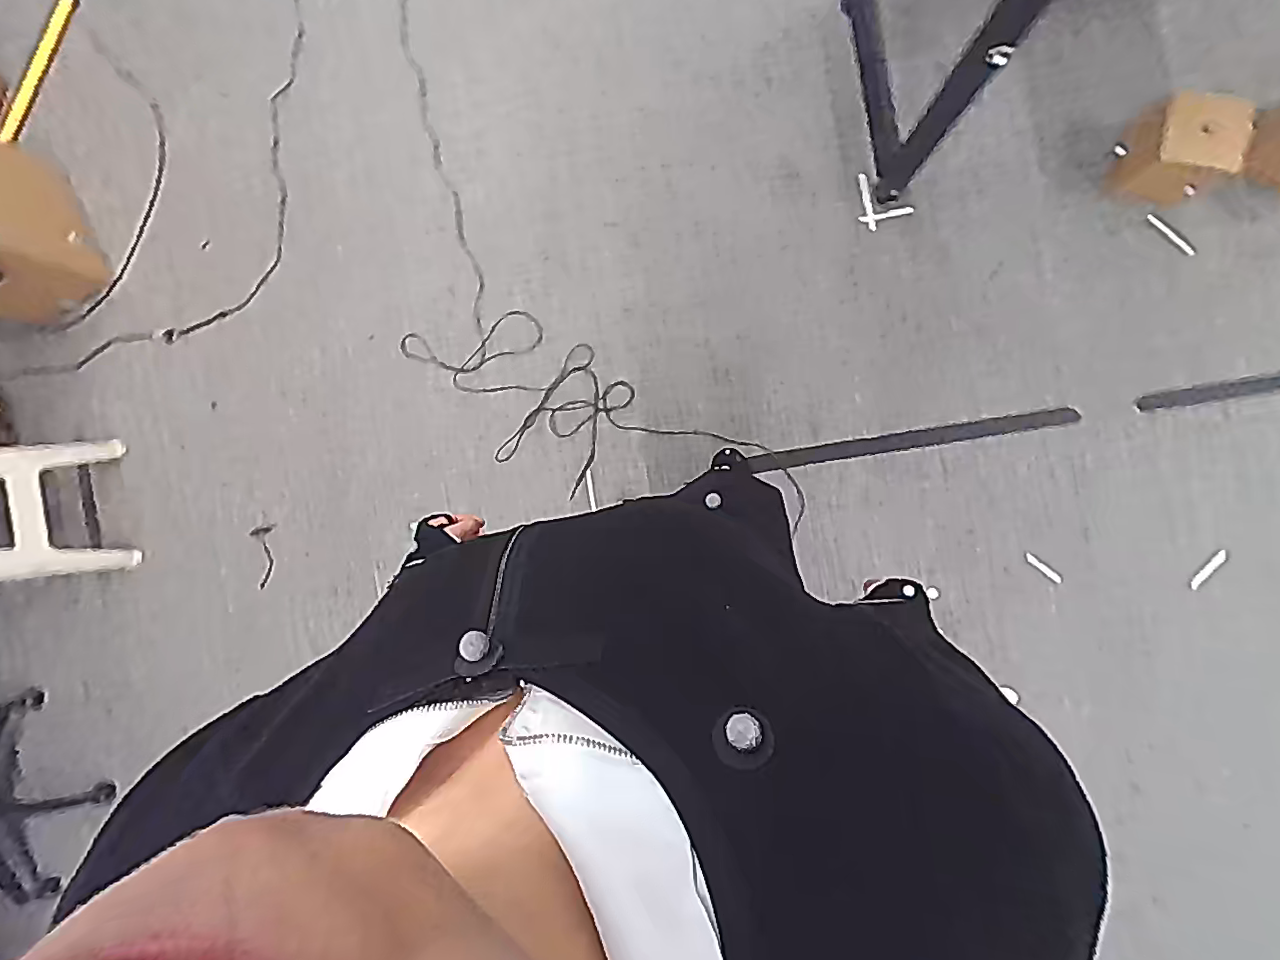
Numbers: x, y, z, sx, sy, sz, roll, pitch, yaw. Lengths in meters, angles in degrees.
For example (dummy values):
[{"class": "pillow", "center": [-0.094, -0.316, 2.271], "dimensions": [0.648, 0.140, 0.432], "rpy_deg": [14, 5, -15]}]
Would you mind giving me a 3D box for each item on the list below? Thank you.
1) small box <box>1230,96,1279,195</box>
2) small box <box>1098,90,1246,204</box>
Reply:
[{"class": "small box", "center": [1.572, -0.822, 1.274], "dimensions": [0.168, 0.176, 0.179], "rpy_deg": [34, 94, 4]}, {"class": "small box", "center": [1.271, -0.793, 1.304], "dimensions": [0.179, 0.176, 0.168], "rpy_deg": [11, 91, 6]}]
